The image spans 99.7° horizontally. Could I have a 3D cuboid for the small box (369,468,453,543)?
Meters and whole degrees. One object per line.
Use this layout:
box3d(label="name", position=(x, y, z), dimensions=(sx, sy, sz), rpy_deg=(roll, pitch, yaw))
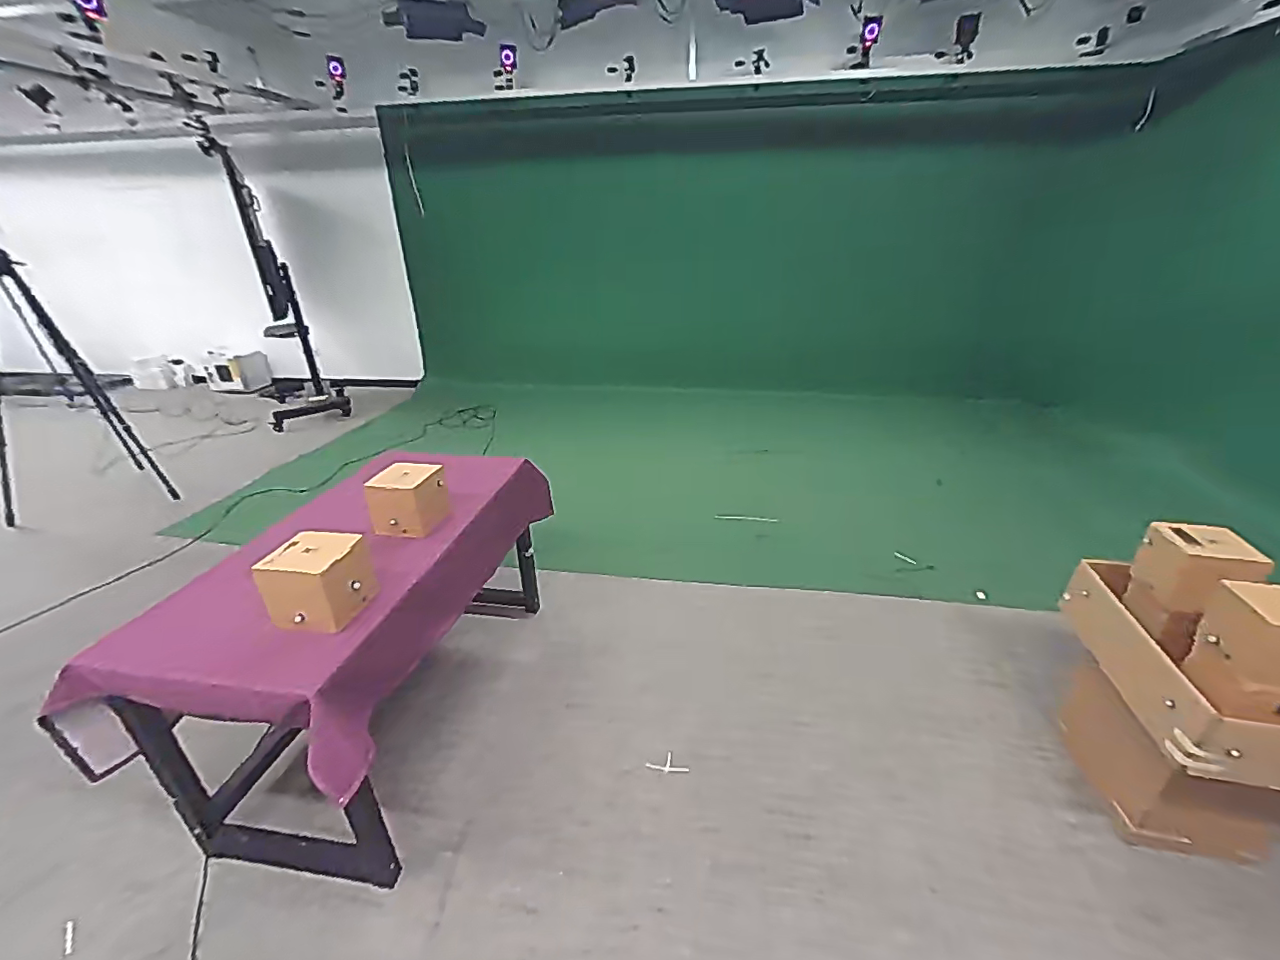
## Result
box3d(label="small box", position=(-0.702, 0.077, 1.683), dimensions=(0.168, 0.176, 0.179), rpy_deg=(3, 25, 12))

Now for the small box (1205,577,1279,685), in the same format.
box3d(label="small box", position=(1.412, 0.337, 1.178), dimensions=(0.179, 0.176, 0.168), rpy_deg=(4, 25, 16))

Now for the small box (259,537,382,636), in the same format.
box3d(label="small box", position=(-0.758, 0.256, 1.305), dimensions=(0.179, 0.176, 0.168), rpy_deg=(3, 25, 10))
